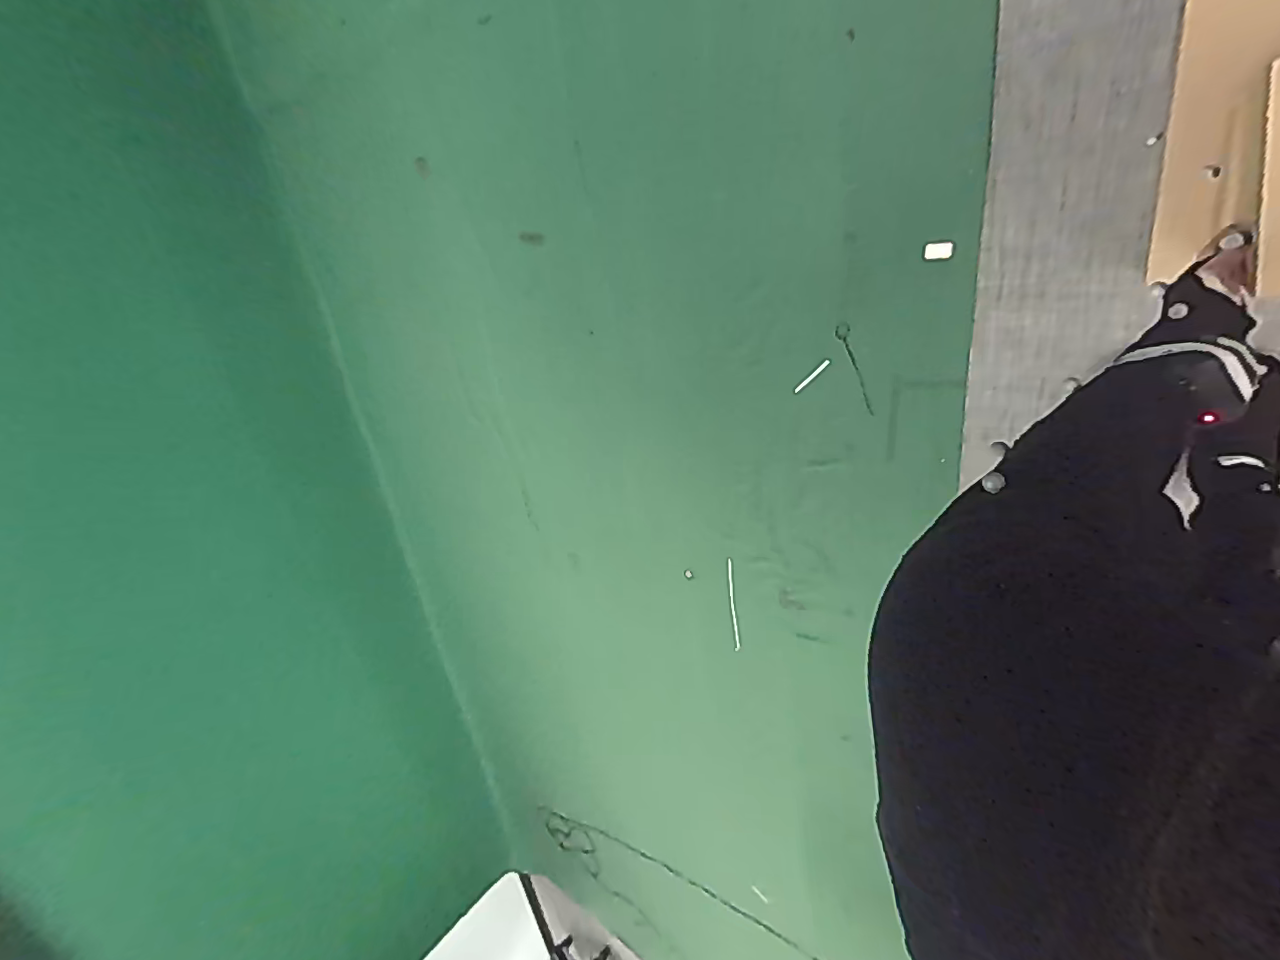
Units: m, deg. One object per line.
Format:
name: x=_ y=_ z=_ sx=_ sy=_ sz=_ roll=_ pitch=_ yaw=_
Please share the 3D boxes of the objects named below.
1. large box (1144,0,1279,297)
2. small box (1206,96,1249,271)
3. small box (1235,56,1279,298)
large box: x=0.850 y=-0.466 z=0.657 sx=0.320 sy=0.320 sz=0.408 roll=7 pitch=116 yaw=40
small box: x=0.695 y=-0.311 z=0.527 sx=0.179 sy=0.176 sz=0.168 roll=7 pitch=116 yaw=42
small box: x=0.590 y=-0.255 z=0.413 sx=0.168 sy=0.176 sz=0.179 roll=1 pitch=112 yaw=42
